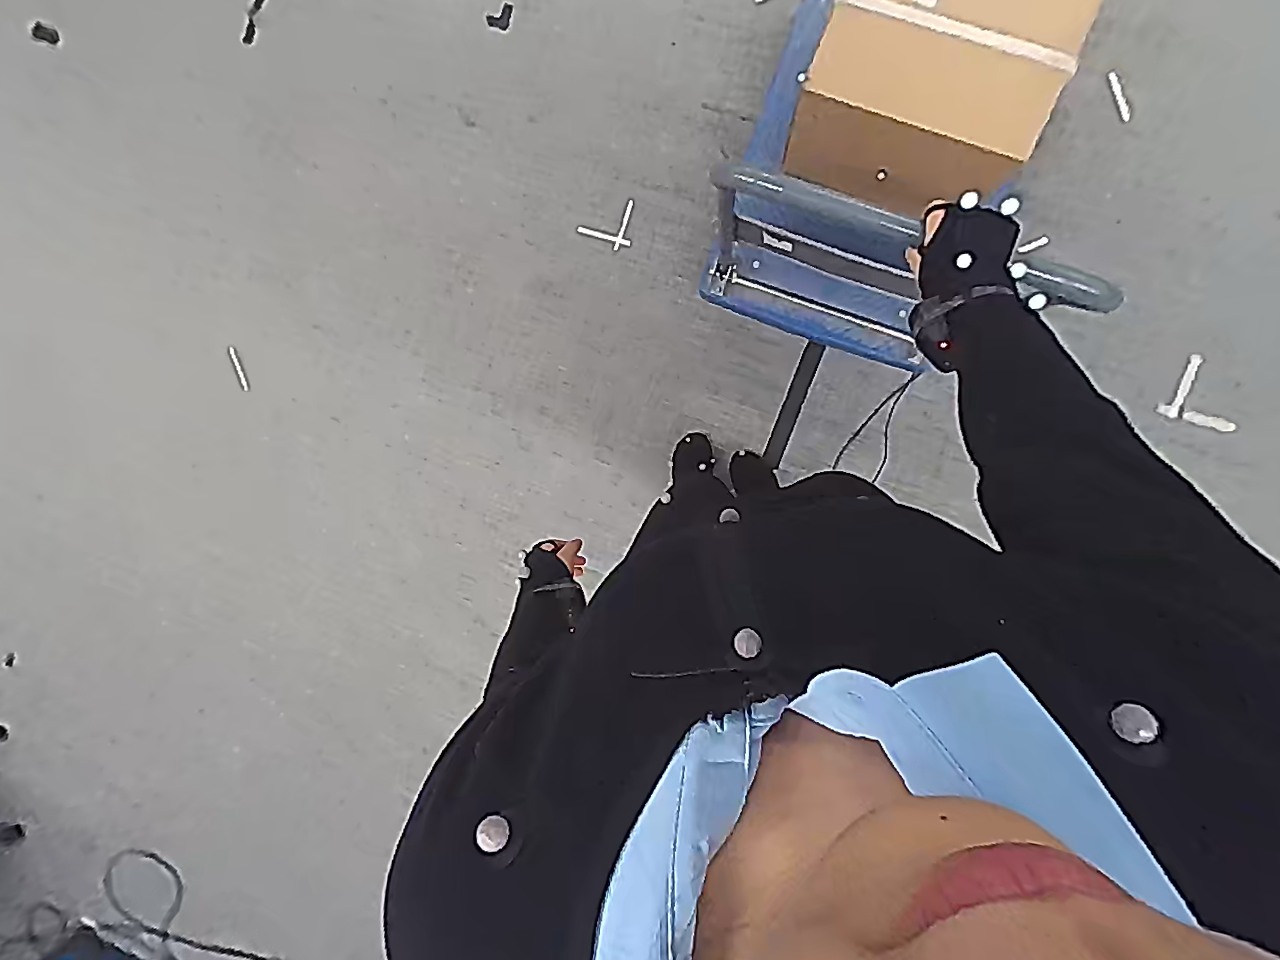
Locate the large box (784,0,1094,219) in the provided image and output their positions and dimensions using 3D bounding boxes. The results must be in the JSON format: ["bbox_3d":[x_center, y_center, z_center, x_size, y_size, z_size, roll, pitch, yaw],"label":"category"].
[{"bbox_3d":[0.538,-0.765,1.045,0.408,0.320,0.320,22,96,7],"label":"large box"}]
